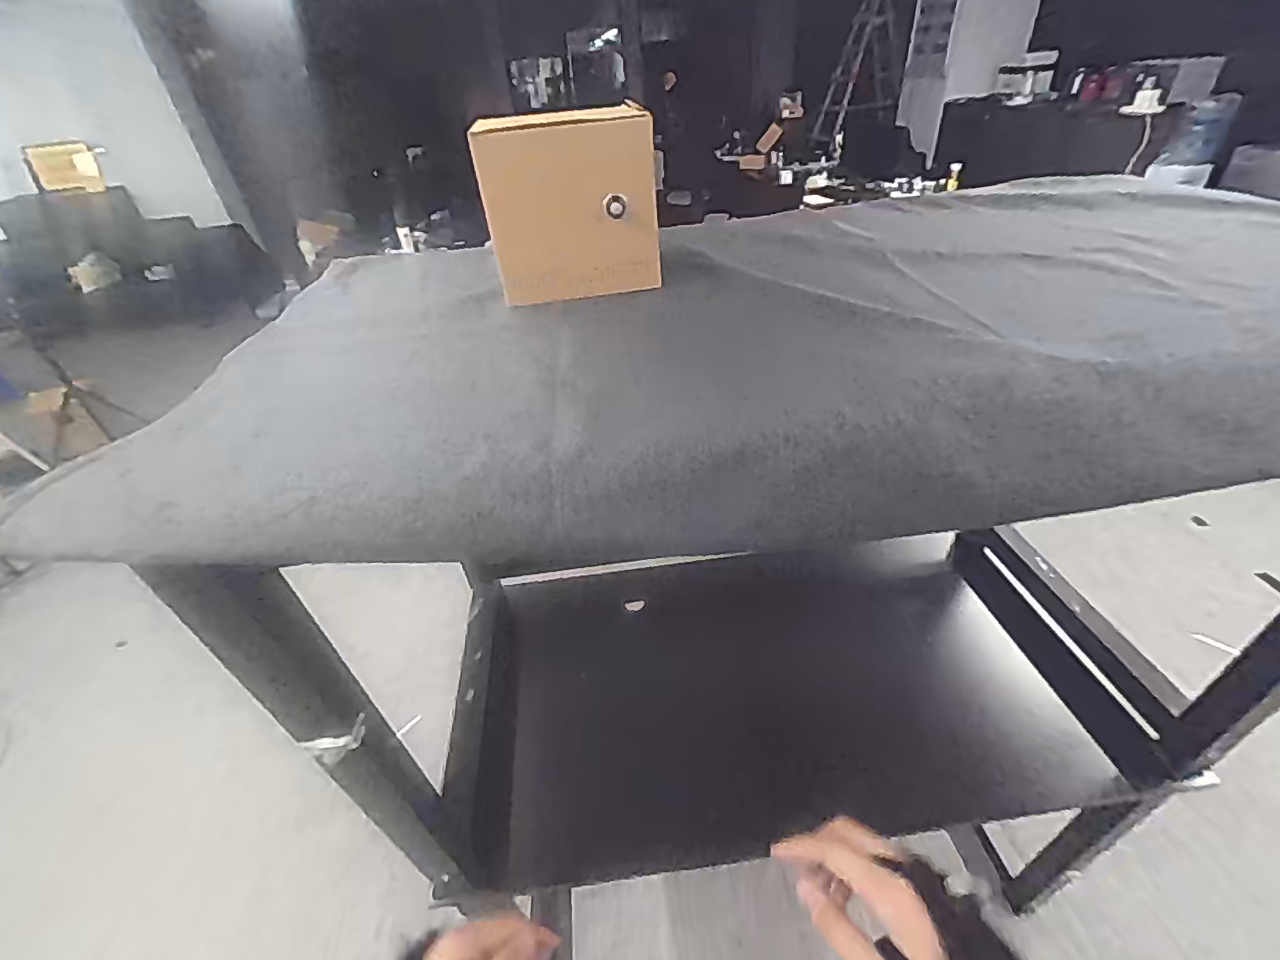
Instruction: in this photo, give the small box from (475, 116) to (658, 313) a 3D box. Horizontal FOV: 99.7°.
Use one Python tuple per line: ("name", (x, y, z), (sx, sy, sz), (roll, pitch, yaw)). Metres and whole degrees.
("small box", (-0.077, -0.306, 0.621), (0.179, 0.176, 0.168), (-9, 37, -6))
